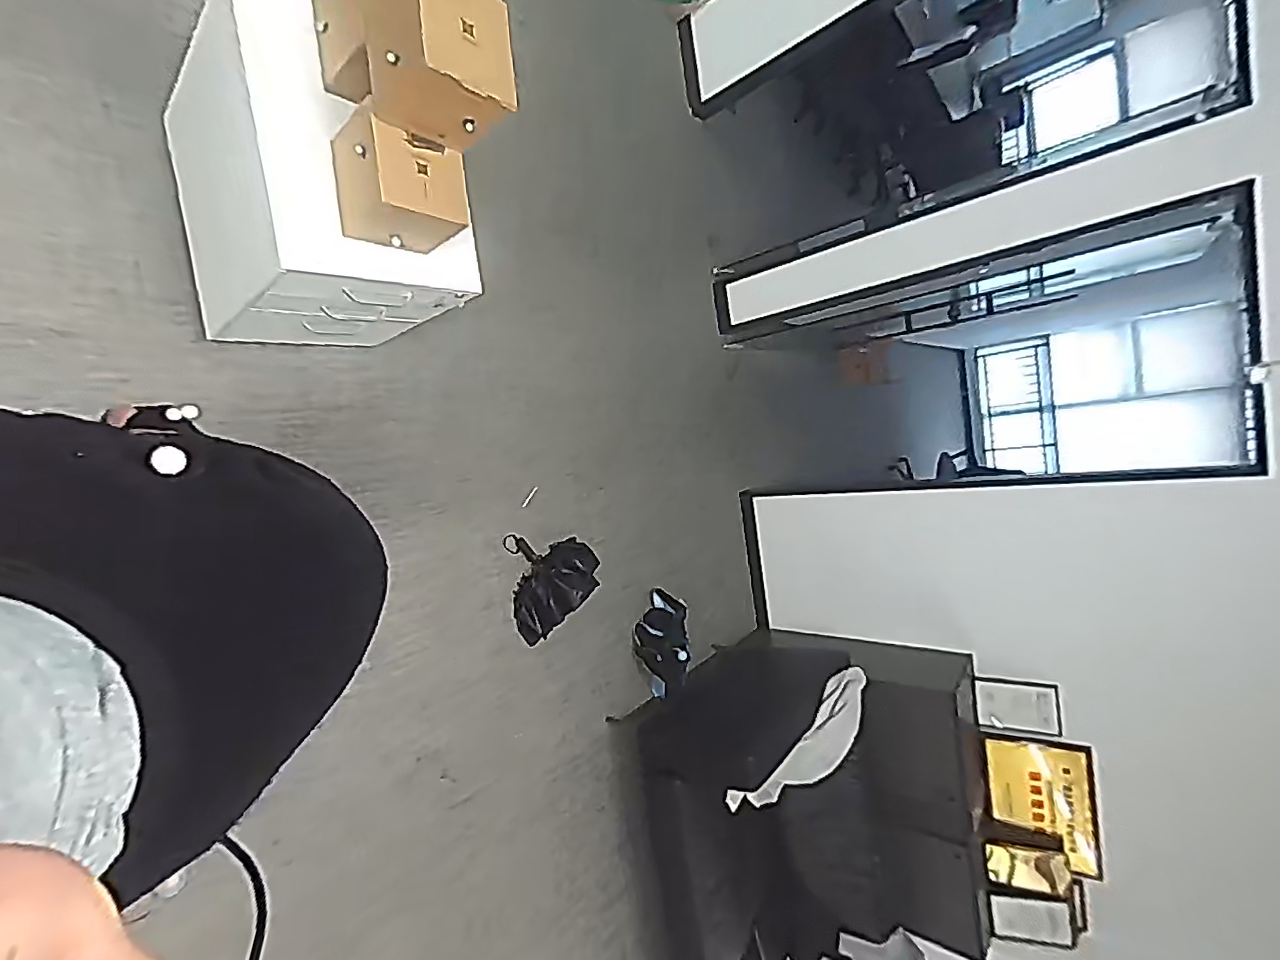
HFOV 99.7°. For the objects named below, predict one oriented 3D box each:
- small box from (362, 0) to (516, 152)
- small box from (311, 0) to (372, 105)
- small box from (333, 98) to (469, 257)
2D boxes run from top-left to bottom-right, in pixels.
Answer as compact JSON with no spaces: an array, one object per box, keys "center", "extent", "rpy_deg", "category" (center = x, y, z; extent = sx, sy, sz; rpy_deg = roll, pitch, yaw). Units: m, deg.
[{"center":[-0.325,-0.674,0.875],"extent":[0.168,0.176,0.179],"rpy_deg":[-10,94,-50],"category":"small box"},{"center":[-0.464,-0.791,0.971],"extent":[0.168,0.176,0.179],"rpy_deg":[-13,99,-49],"category":"small box"},{"center":[-0.437,-0.533,0.983],"extent":[0.168,0.176,0.179],"rpy_deg":[-9,95,-49],"category":"small box"}]
